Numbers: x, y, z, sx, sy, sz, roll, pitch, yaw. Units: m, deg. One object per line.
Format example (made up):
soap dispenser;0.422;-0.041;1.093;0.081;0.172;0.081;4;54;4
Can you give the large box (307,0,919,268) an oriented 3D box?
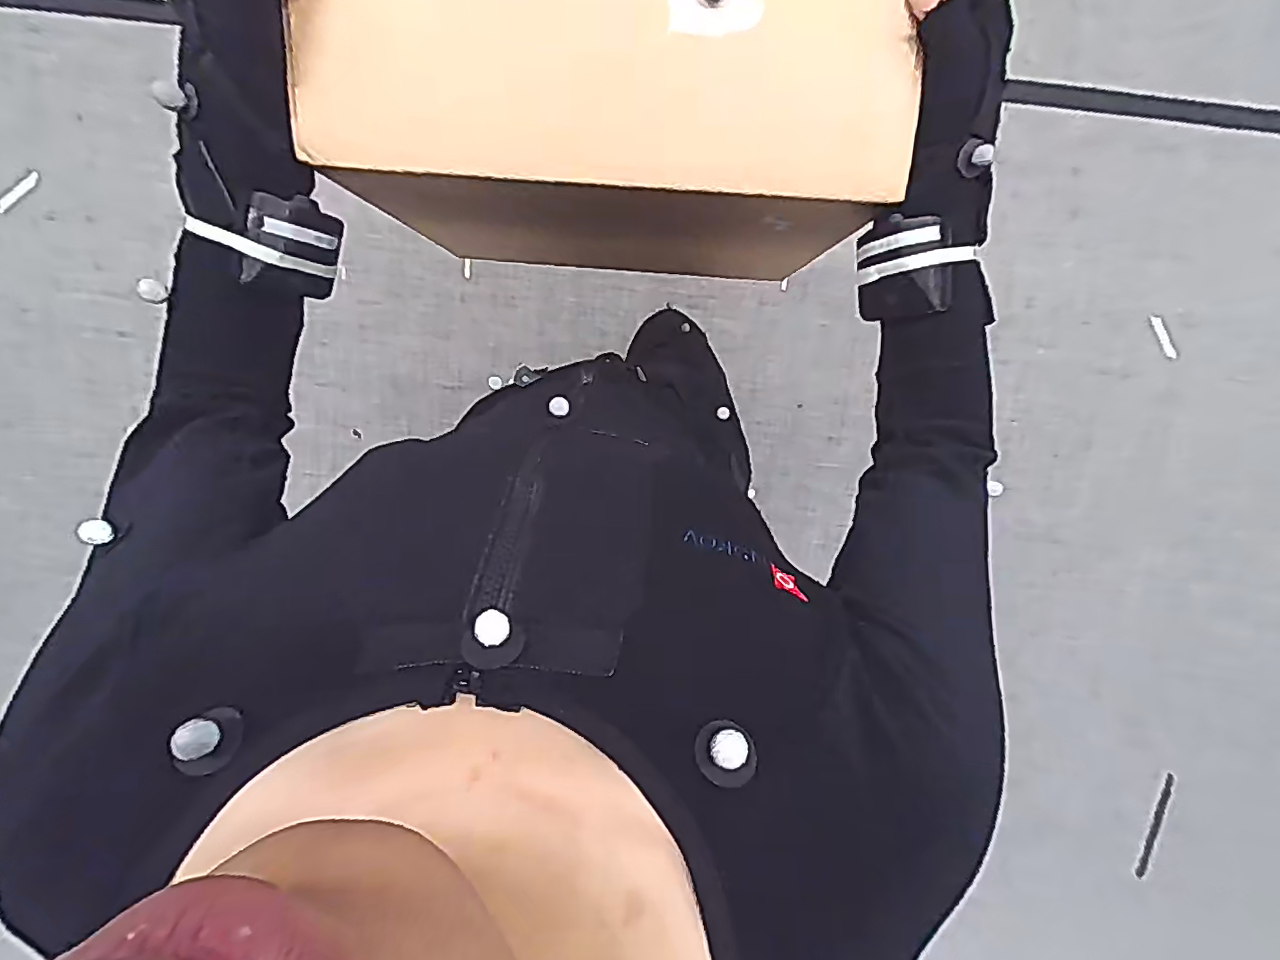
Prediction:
large box;-0.015;-0.389;0.487;0.408;0.320;0.320;3;101;-1
